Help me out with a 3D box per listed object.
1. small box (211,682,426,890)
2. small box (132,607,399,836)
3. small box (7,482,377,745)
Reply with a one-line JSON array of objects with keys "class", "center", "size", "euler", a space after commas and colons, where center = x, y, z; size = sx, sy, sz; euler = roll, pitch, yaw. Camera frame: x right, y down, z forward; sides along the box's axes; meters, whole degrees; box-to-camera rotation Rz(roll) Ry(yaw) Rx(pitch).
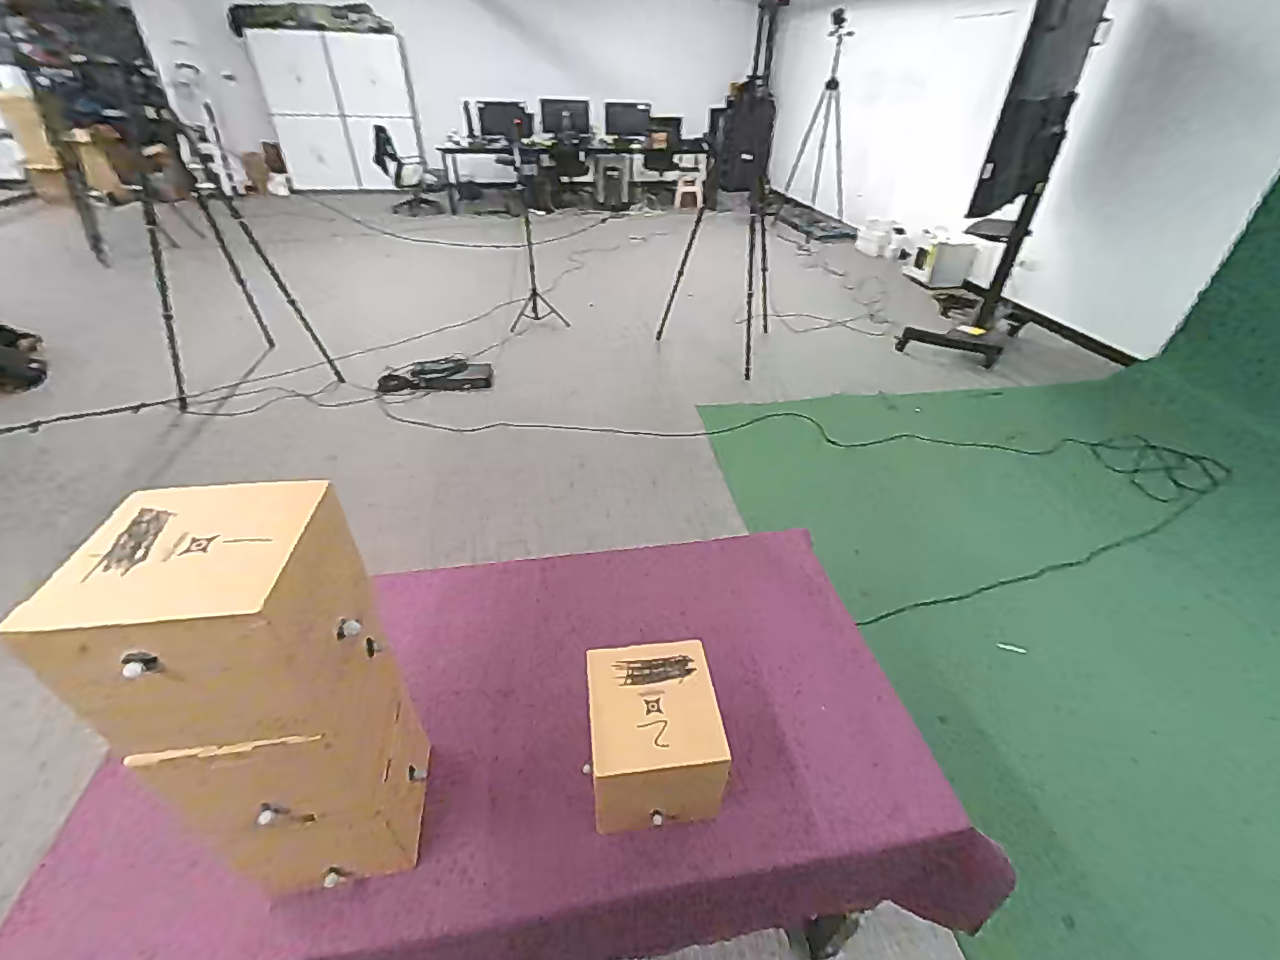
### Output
[{"class": "small box", "center": [-0.384, 0.388, 0.691], "size": [0.179, 0.176, 0.168], "euler": [-5, 37, -10]}, {"class": "small box", "center": [-0.380, 0.253, 0.595], "size": [0.168, 0.176, 0.179], "euler": [-5, 38, -8]}, {"class": "small box", "center": [-0.372, 0.121, 0.498], "size": [0.179, 0.176, 0.168], "euler": [-3, 37, -7]}]
